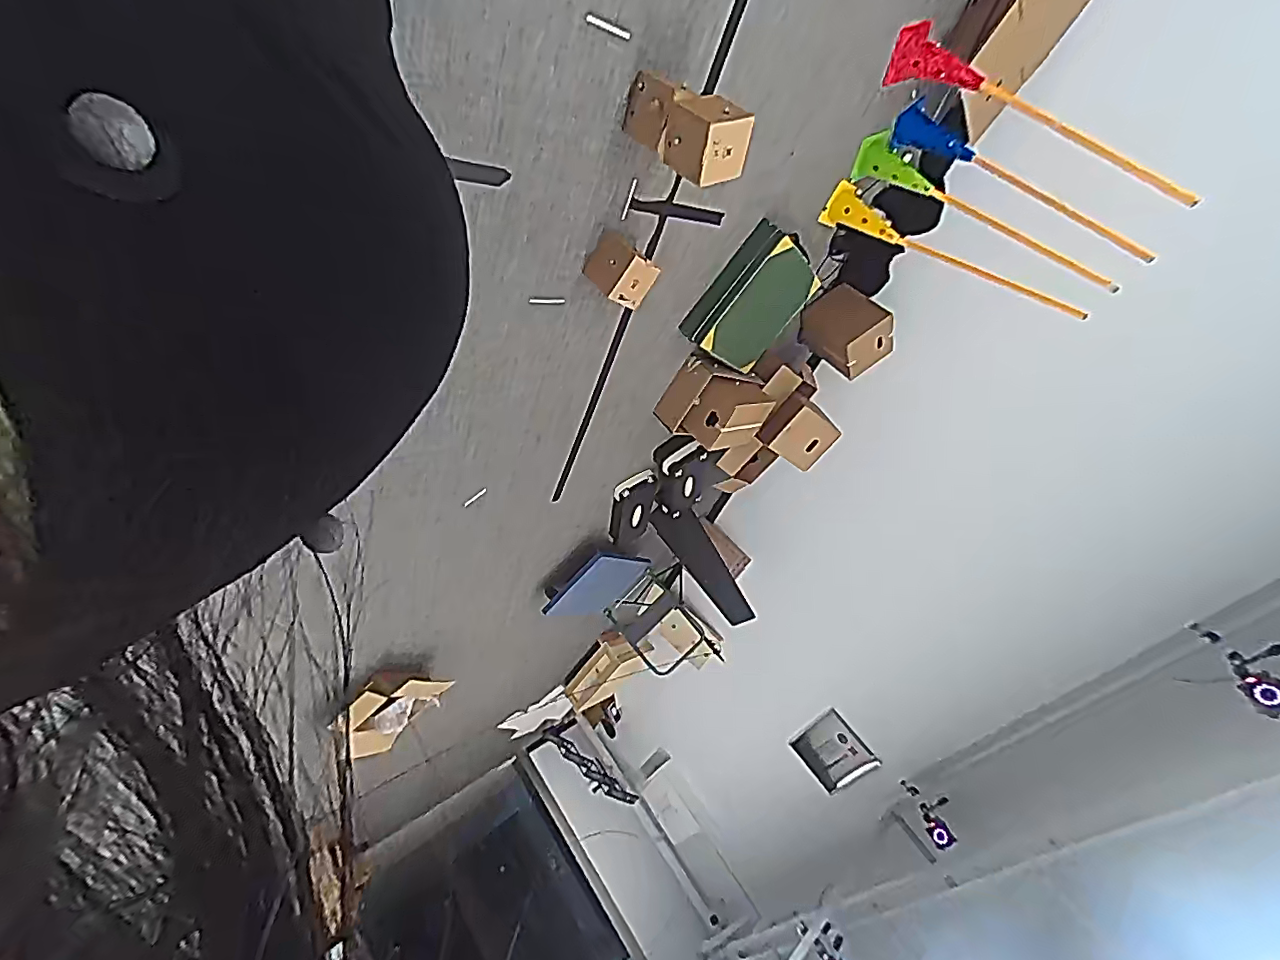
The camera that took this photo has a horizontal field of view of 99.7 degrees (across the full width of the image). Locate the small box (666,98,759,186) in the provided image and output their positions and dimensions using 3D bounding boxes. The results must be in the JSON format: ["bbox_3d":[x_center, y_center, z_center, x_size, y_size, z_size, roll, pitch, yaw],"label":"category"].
[{"bbox_3d":[0.203,-0.977,1.556,0.179,0.176,0.168,-24,149,-28],"label":"small box"}]

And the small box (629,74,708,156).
[{"bbox_3d":[0.094,-1.083,1.621,0.179,0.176,0.168,-19,147,-40],"label":"small box"}]

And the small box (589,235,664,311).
[{"bbox_3d":[-0.054,-0.748,1.954,0.168,0.176,0.179,-3,136,-54],"label":"small box"}]
